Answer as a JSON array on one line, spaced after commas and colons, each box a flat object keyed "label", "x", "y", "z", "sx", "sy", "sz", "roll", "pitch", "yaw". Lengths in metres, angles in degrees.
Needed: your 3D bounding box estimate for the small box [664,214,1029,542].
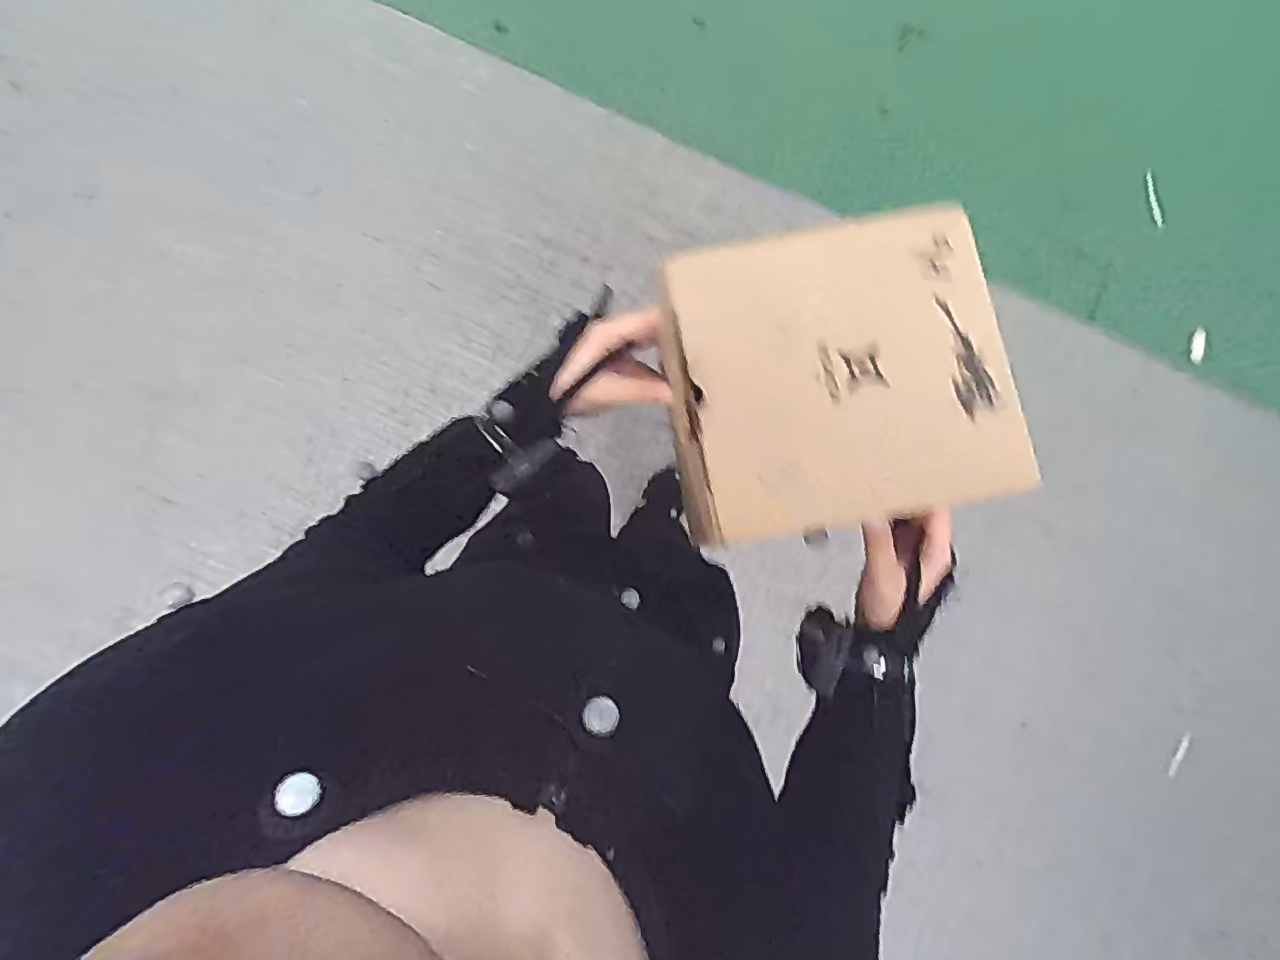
[{"label": "small box", "x": 0.115, "y": -0.050, "z": 0.382, "sx": 0.179, "sy": 0.176, "sz": 0.168, "roll": -10, "pitch": 82, "yaw": 1}]
